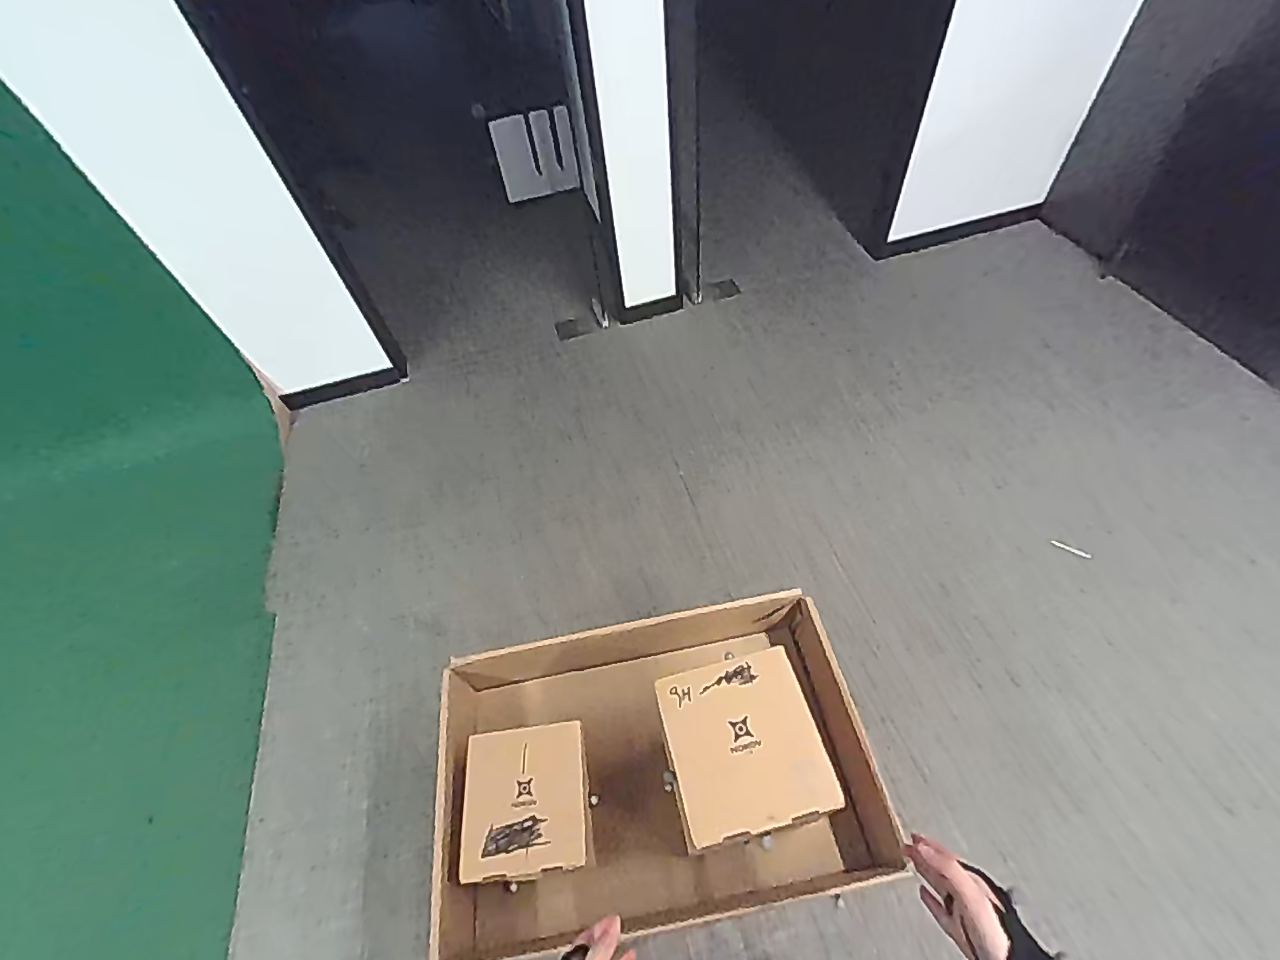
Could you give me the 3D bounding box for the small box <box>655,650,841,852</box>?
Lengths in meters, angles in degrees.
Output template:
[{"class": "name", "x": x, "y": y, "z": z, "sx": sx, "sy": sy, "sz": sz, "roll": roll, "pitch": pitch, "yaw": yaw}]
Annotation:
[{"class": "small box", "x": 0.122, "y": 0.337, "z": 0.668, "sx": 0.168, "sy": 0.176, "sz": 0.179, "roll": -13, "pitch": 54, "yaw": -3}]
